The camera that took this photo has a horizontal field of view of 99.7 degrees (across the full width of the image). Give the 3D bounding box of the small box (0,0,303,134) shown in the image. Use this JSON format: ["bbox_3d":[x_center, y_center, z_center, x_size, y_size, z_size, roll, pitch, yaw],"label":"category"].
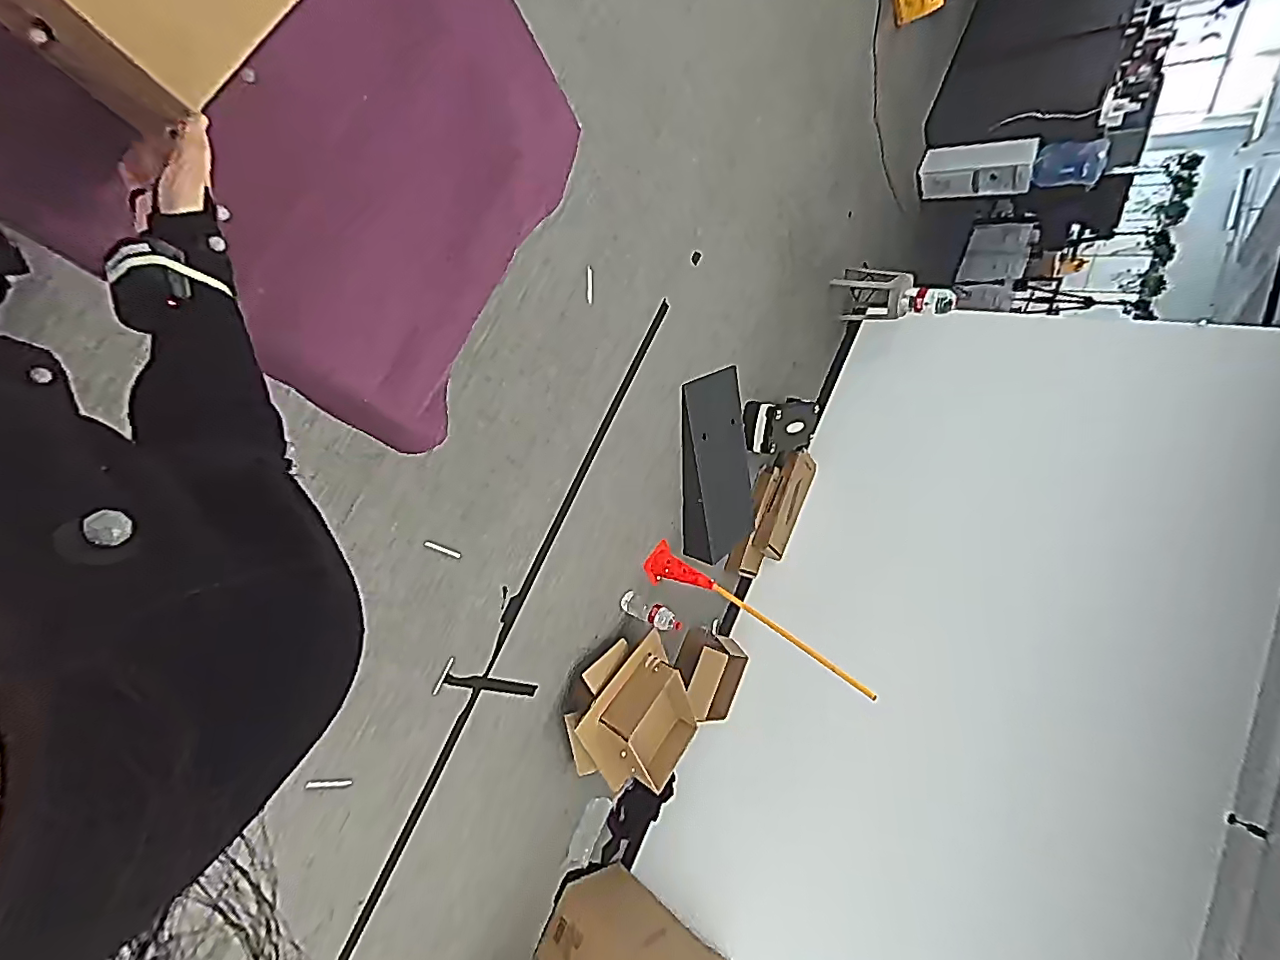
[{"bbox_3d":[-0.435,-0.434,0.460,0.168,0.176,0.179,44,68,-51],"label":"small box"}]
